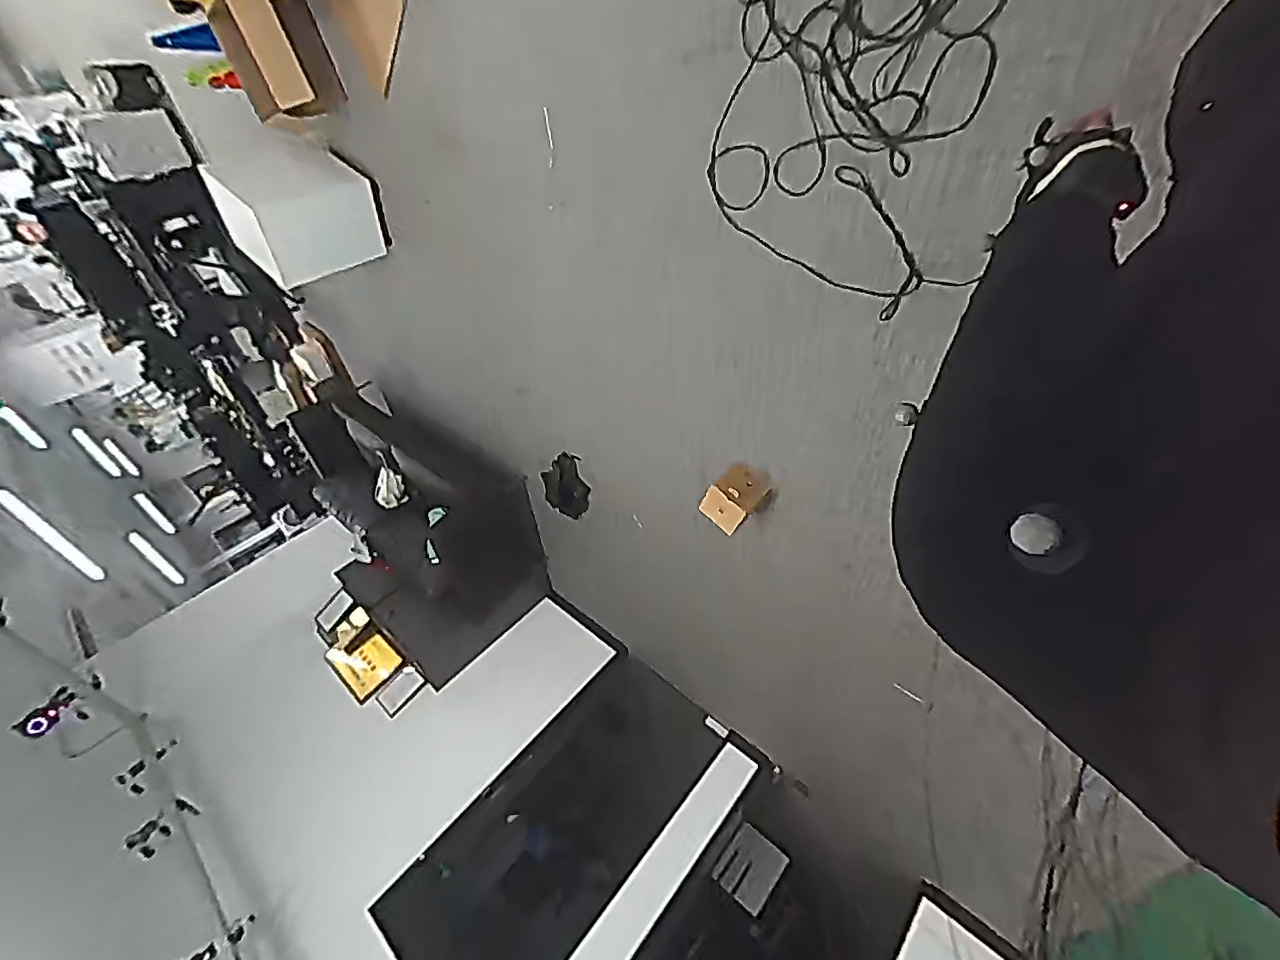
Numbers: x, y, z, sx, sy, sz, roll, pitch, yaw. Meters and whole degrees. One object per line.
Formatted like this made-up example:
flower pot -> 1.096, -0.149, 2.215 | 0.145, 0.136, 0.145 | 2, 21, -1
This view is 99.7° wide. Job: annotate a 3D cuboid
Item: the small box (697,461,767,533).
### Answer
small box -> 0.348, 0.063, 2.033 | 0.168, 0.176, 0.179 | 42, 147, 15
